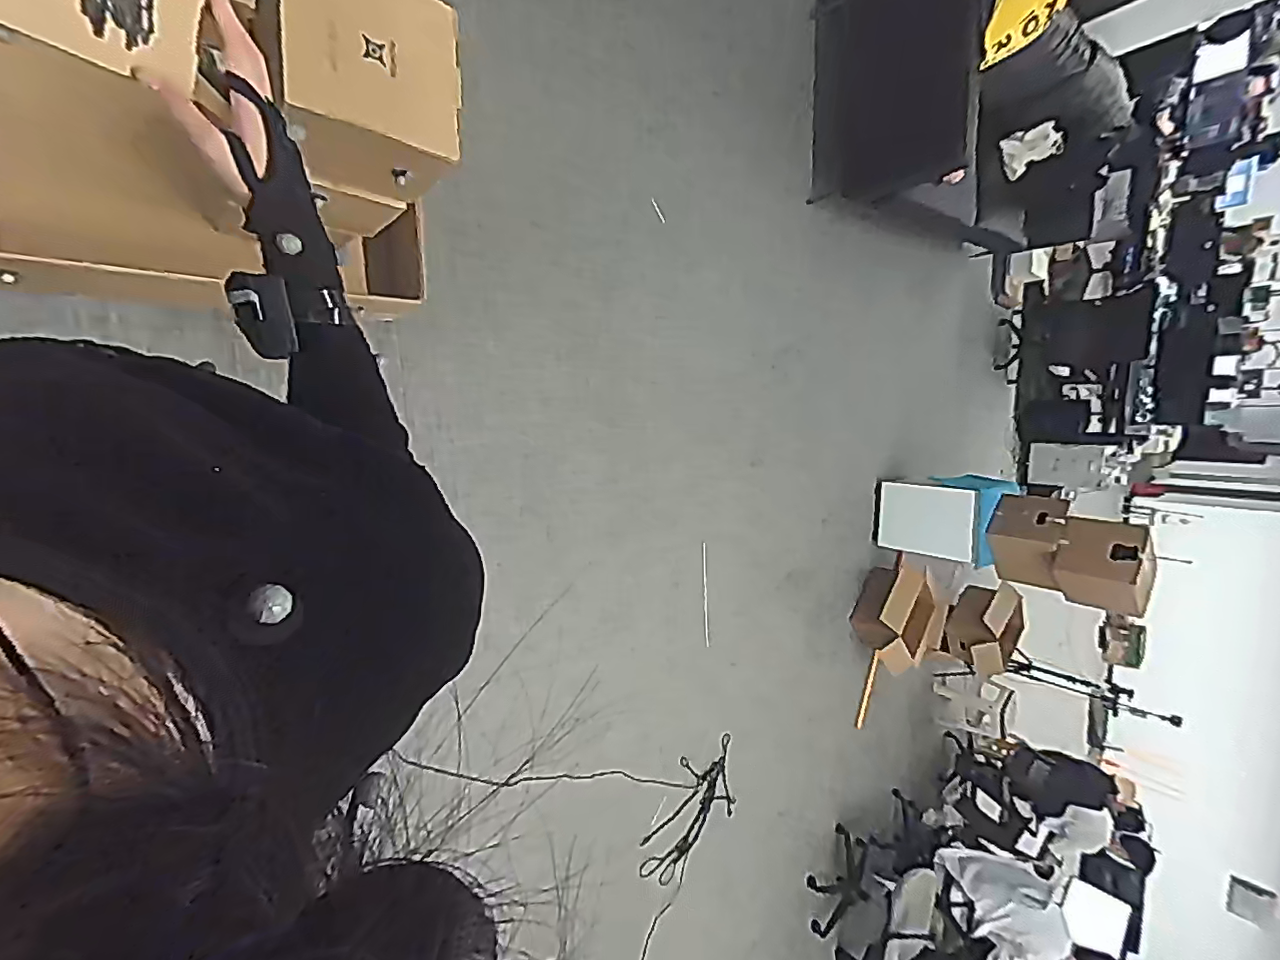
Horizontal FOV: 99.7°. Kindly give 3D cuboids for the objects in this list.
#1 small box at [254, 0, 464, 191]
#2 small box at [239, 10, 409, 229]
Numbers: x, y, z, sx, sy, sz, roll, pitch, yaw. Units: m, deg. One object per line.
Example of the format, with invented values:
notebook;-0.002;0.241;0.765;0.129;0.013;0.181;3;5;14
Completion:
small box;-0.316;-0.451;0.608;0.179;0.176;0.168;-3;97;-41
small box;-0.427;-0.458;0.727;0.179;0.176;0.168;-3;98;-42
